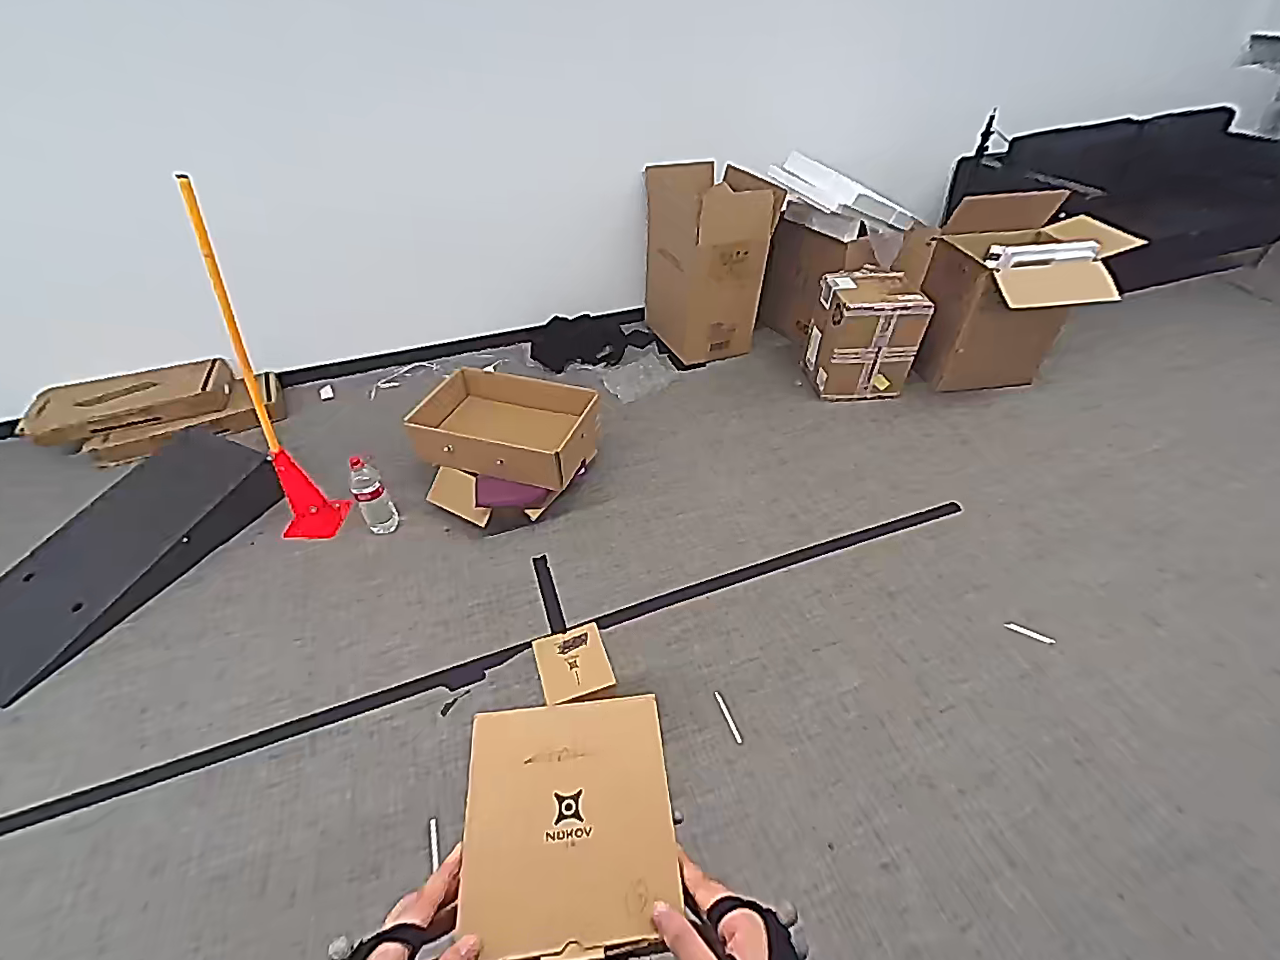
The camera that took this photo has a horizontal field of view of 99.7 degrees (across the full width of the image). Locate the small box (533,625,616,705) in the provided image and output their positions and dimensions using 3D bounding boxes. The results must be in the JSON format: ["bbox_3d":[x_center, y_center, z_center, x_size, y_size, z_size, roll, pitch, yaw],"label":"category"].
[{"bbox_3d":[-0.162,0.497,1.340,0.168,0.176,0.179,-14,46,-14],"label":"small box"}]

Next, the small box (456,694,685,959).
[{"bbox_3d":[-0.058,0.321,0.493,0.168,0.176,0.179,-4,46,-7],"label":"small box"}]
